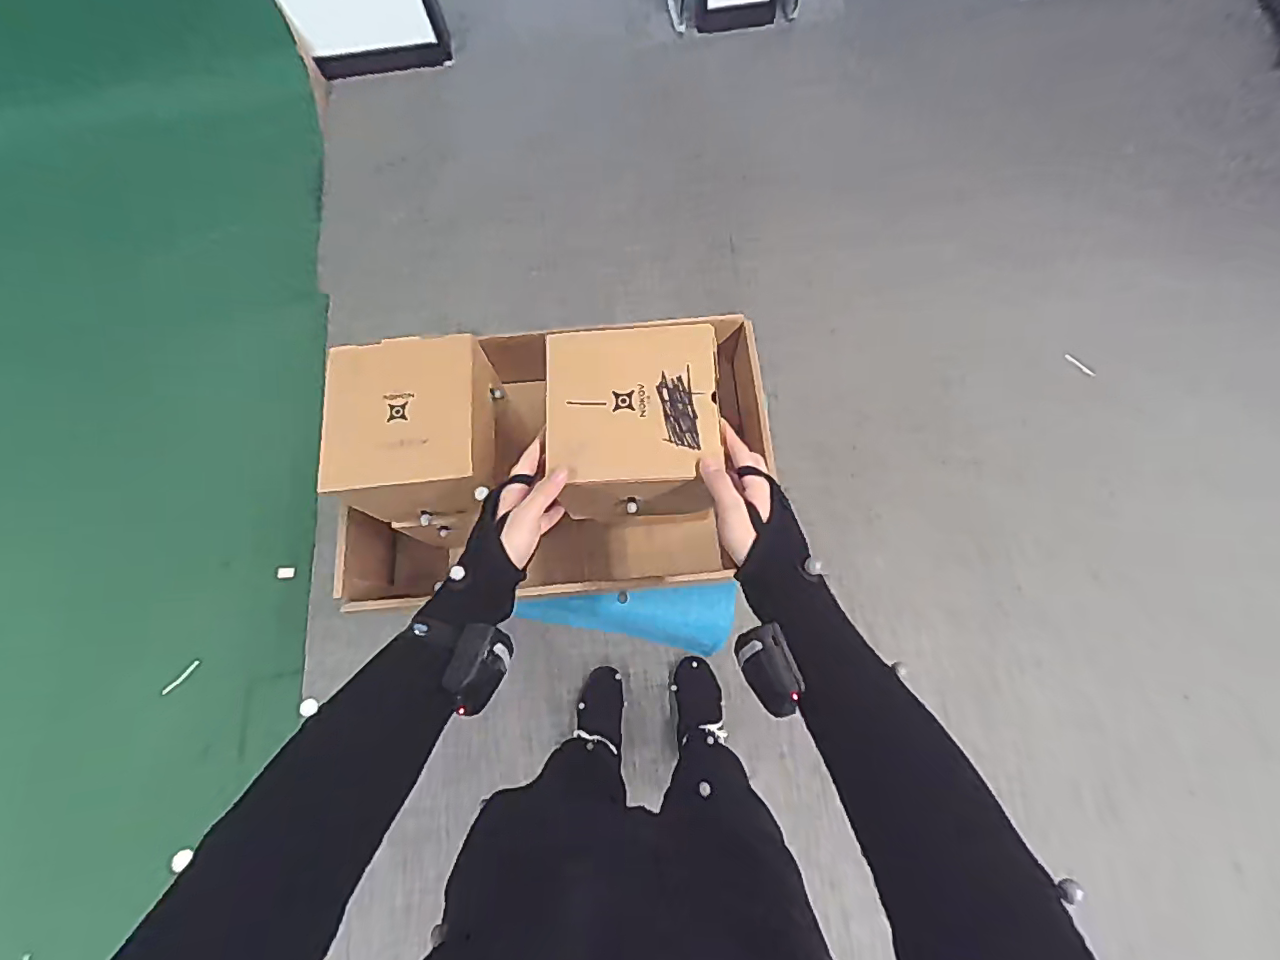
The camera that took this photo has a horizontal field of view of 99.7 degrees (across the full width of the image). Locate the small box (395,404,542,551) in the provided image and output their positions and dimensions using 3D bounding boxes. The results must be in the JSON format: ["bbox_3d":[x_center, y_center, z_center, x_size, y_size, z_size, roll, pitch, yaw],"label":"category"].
[{"bbox_3d":[-0.249,0.003,0.826,0.168,0.176,0.179,-5,72,2],"label":"small box"}]

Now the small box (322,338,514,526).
[{"bbox_3d":[-0.258,-0.051,0.672,0.168,0.176,0.179,-5,73,1],"label":"small box"}]
